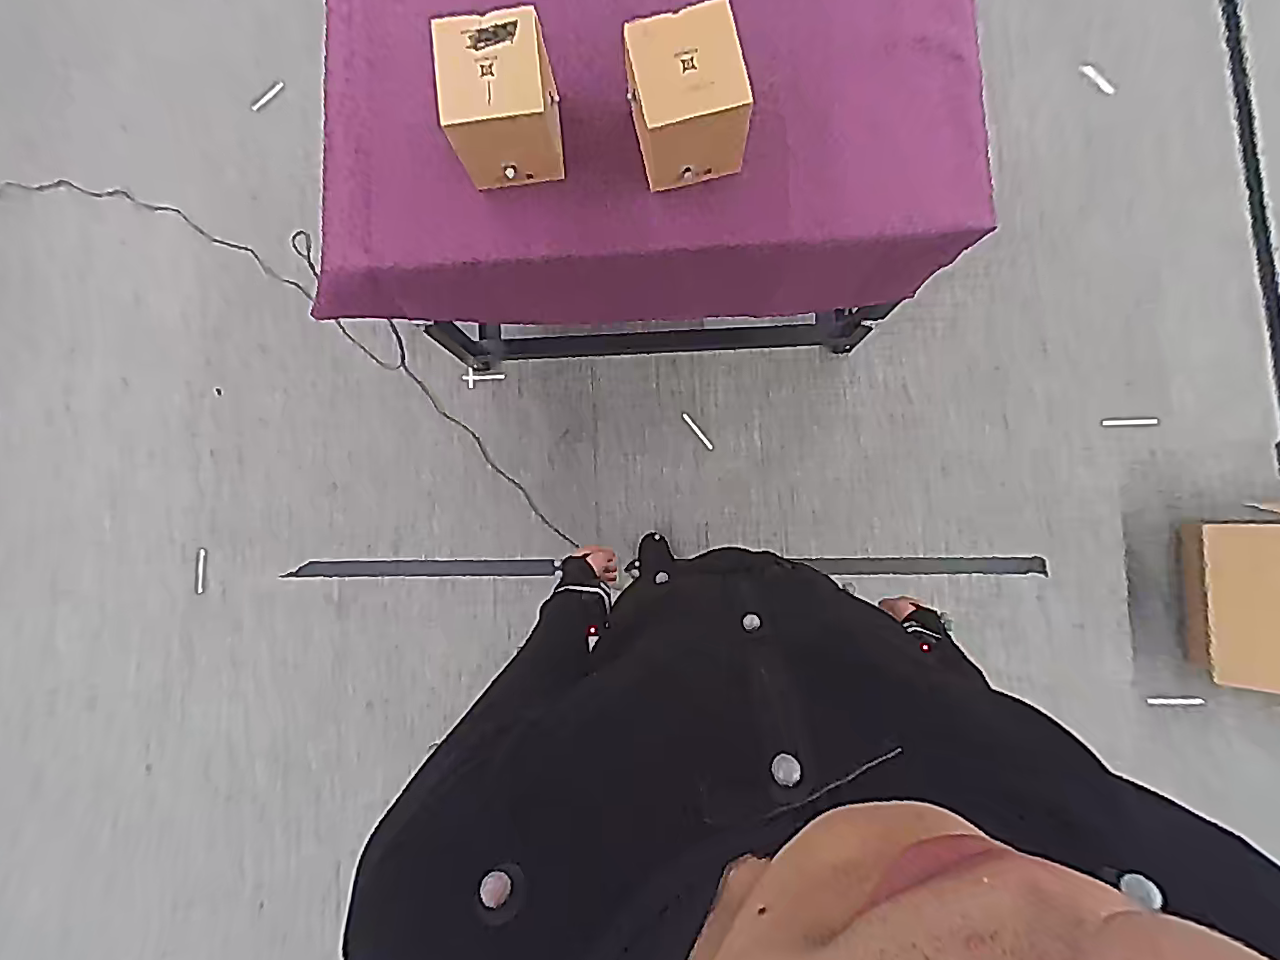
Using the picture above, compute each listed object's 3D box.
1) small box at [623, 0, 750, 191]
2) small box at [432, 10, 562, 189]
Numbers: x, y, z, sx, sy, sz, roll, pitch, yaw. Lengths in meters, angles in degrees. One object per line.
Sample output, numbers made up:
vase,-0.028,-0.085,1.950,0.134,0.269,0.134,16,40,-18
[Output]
small box,0.073,-0.626,0.899,0.168,0.176,0.179,-13,84,3
small box,-0.233,-0.632,0.915,0.168,0.176,0.179,-6,86,3
